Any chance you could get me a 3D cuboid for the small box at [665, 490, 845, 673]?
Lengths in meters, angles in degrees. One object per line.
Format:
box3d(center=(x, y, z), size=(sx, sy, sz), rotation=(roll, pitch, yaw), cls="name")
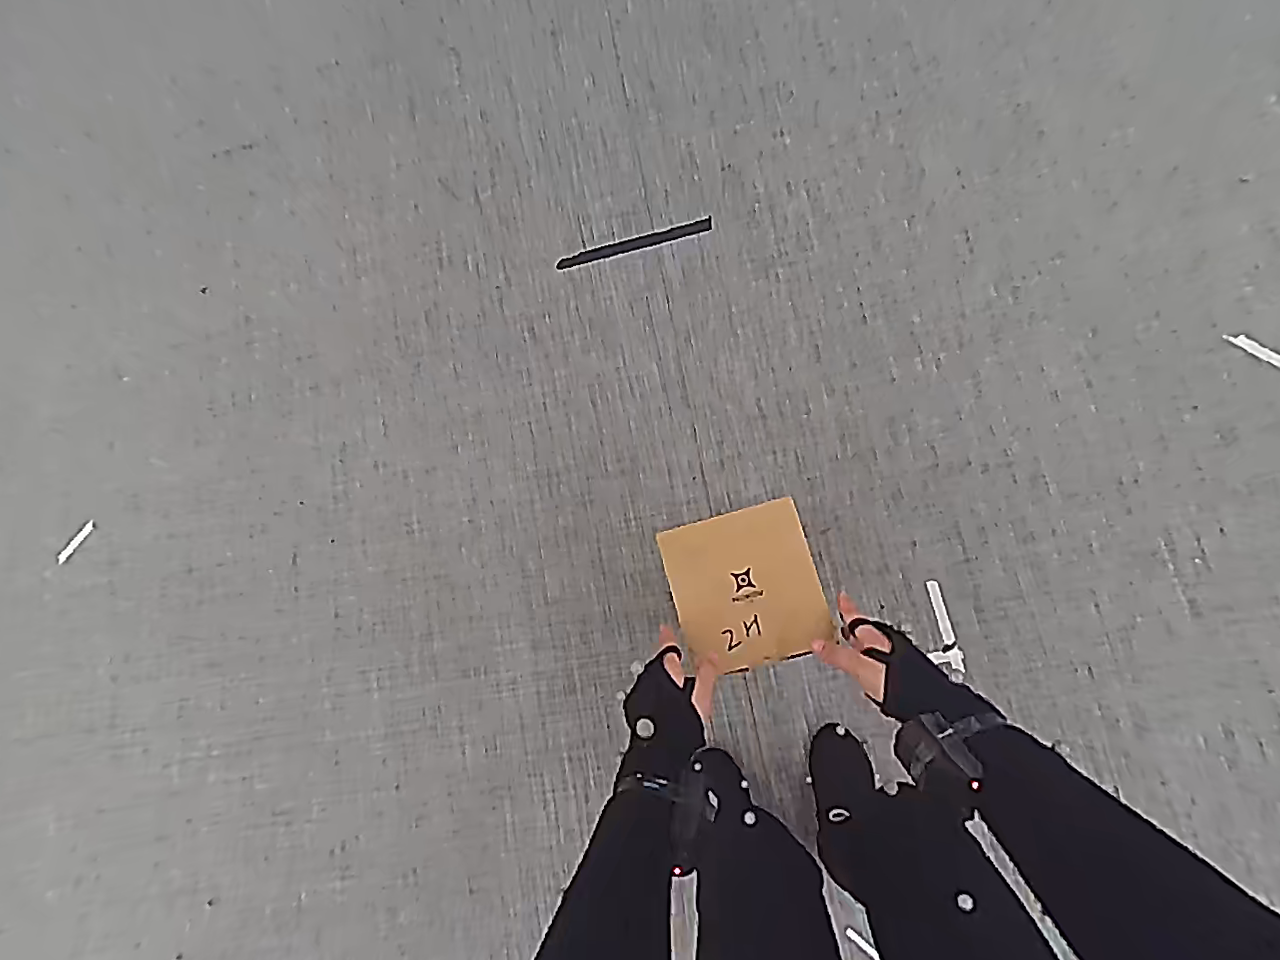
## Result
box3d(center=(0.136, 0.126, 0.689), size=(0.168, 0.176, 0.179), rotation=(-17, 80, 6), cls="small box")
